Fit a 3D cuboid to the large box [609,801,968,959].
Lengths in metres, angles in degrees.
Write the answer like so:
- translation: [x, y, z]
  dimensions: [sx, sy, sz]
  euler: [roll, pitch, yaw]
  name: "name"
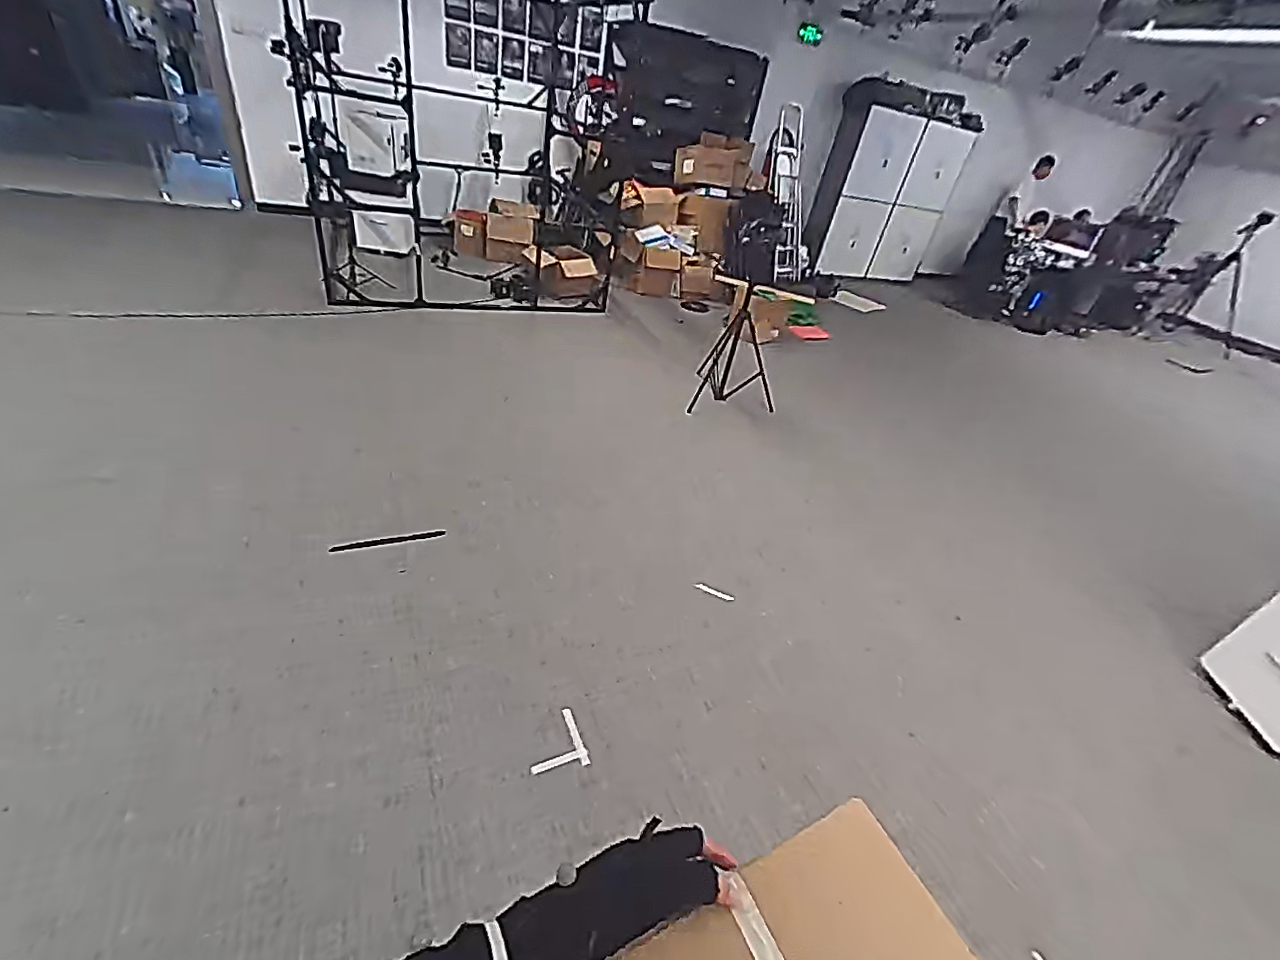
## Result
- translation: [0.145, 0.579, 0.441]
  dimensions: [0.320, 0.320, 0.408]
  euler: [-14, 46, -26]
  name: "large box"
